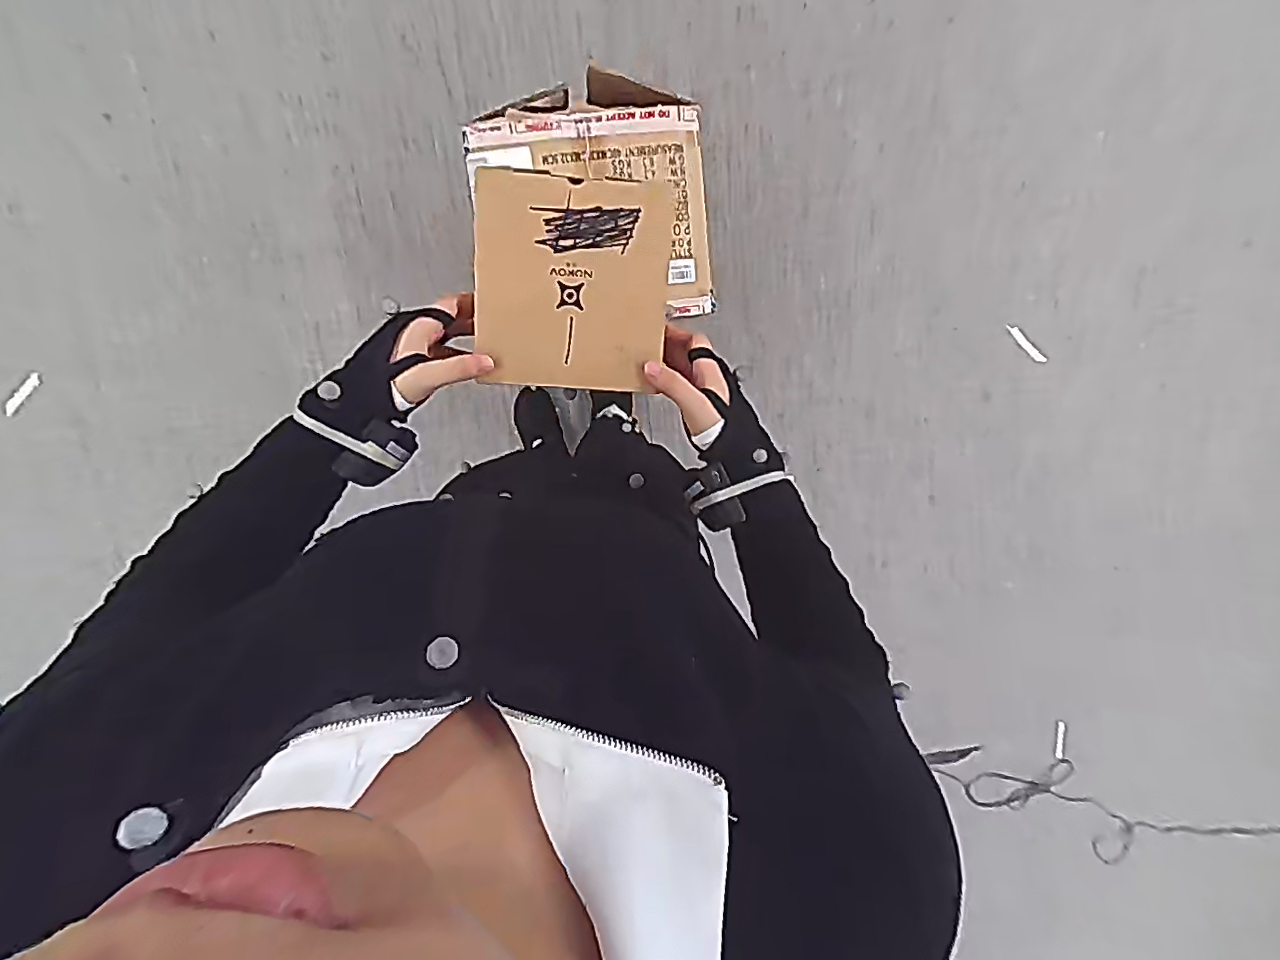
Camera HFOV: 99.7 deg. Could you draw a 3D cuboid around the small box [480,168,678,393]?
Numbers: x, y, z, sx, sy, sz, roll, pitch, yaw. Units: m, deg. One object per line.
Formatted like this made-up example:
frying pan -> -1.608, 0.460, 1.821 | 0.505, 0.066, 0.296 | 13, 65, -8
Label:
small box -> -0.058, -0.183, 0.542 | 0.168, 0.176, 0.179 | 3, 102, -3
